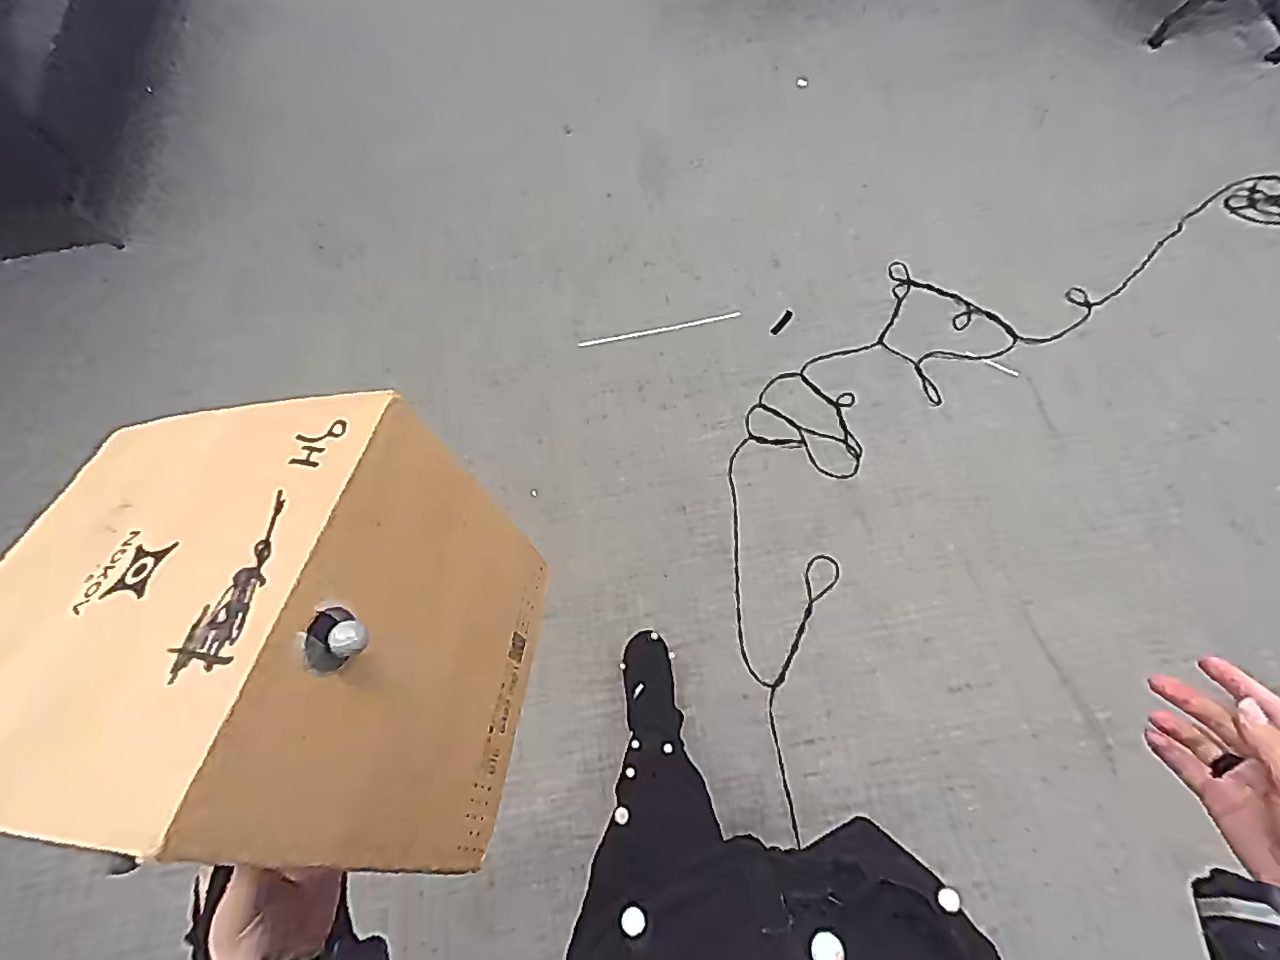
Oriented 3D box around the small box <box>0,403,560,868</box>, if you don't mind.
[{"bbox_3d":[-0.164,0.086,0.274,0.179,0.176,0.168,-5,54,17],"label":"small box"}]
